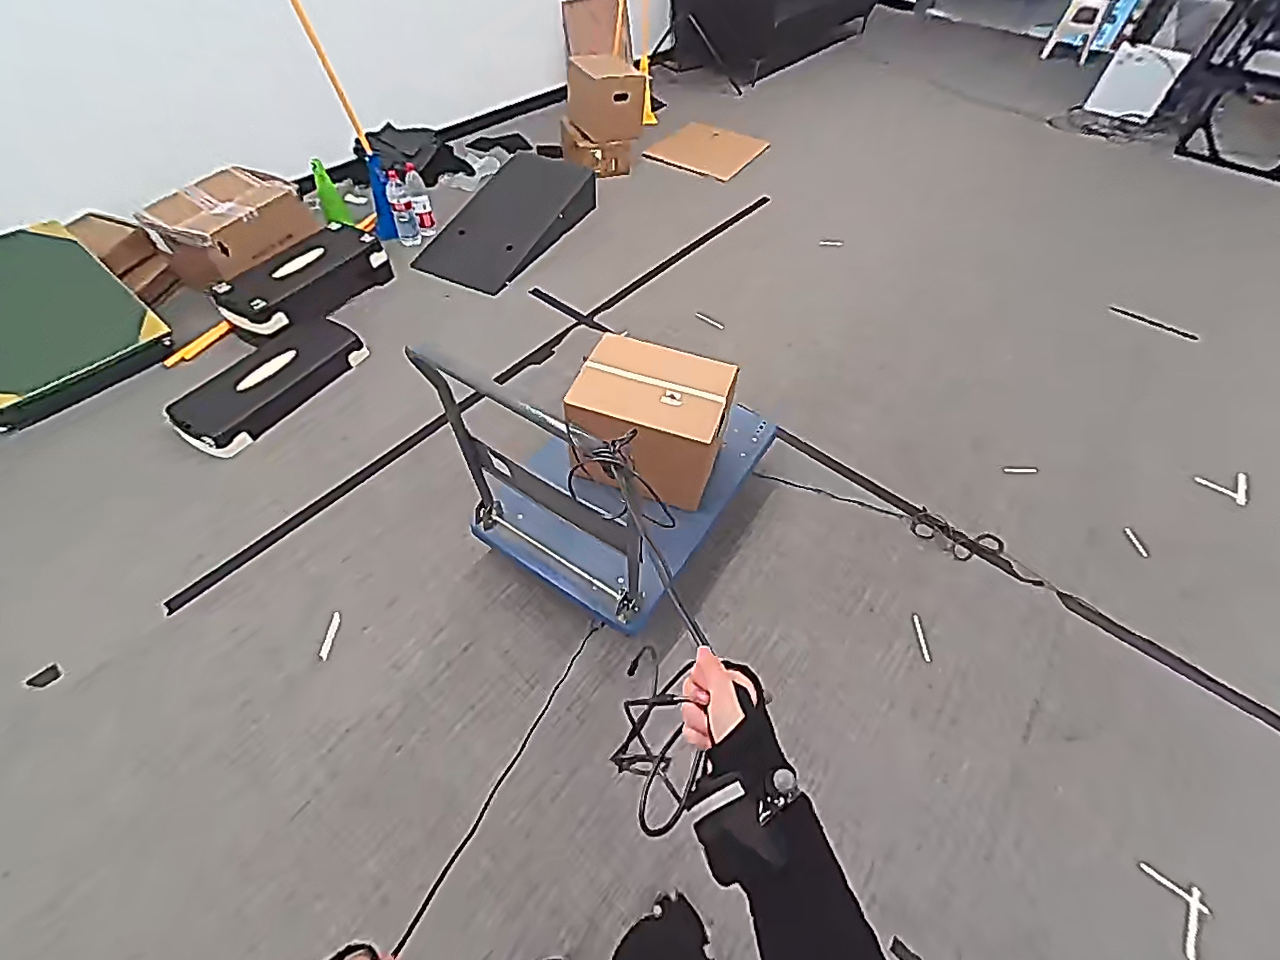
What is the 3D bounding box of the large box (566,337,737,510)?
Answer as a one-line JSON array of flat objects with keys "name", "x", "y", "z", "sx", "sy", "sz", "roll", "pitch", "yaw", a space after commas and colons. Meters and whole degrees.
[{"name": "large box", "x": 0.030, "y": -0.164, "z": 1.579, "sx": 0.408, "sy": 0.320, "sz": 0.320, "roll": 17, "pitch": 55, "yaw": 10}]
